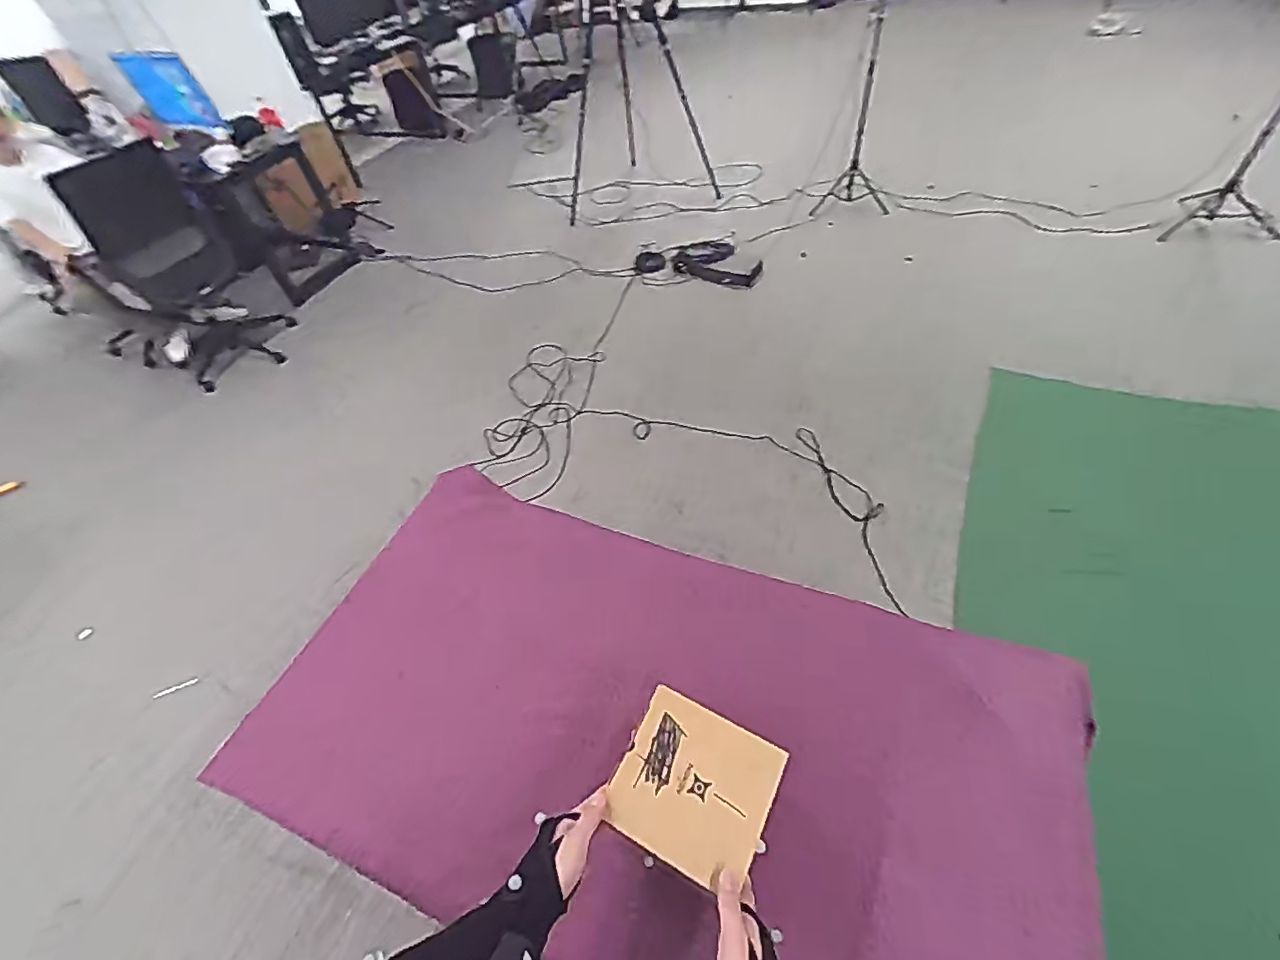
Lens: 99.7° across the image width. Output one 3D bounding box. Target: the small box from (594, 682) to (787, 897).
[{"bbox_3d":[0.064,0.395,0.688,0.179,0.176,0.168,23,57,20],"label":"small box"}]
